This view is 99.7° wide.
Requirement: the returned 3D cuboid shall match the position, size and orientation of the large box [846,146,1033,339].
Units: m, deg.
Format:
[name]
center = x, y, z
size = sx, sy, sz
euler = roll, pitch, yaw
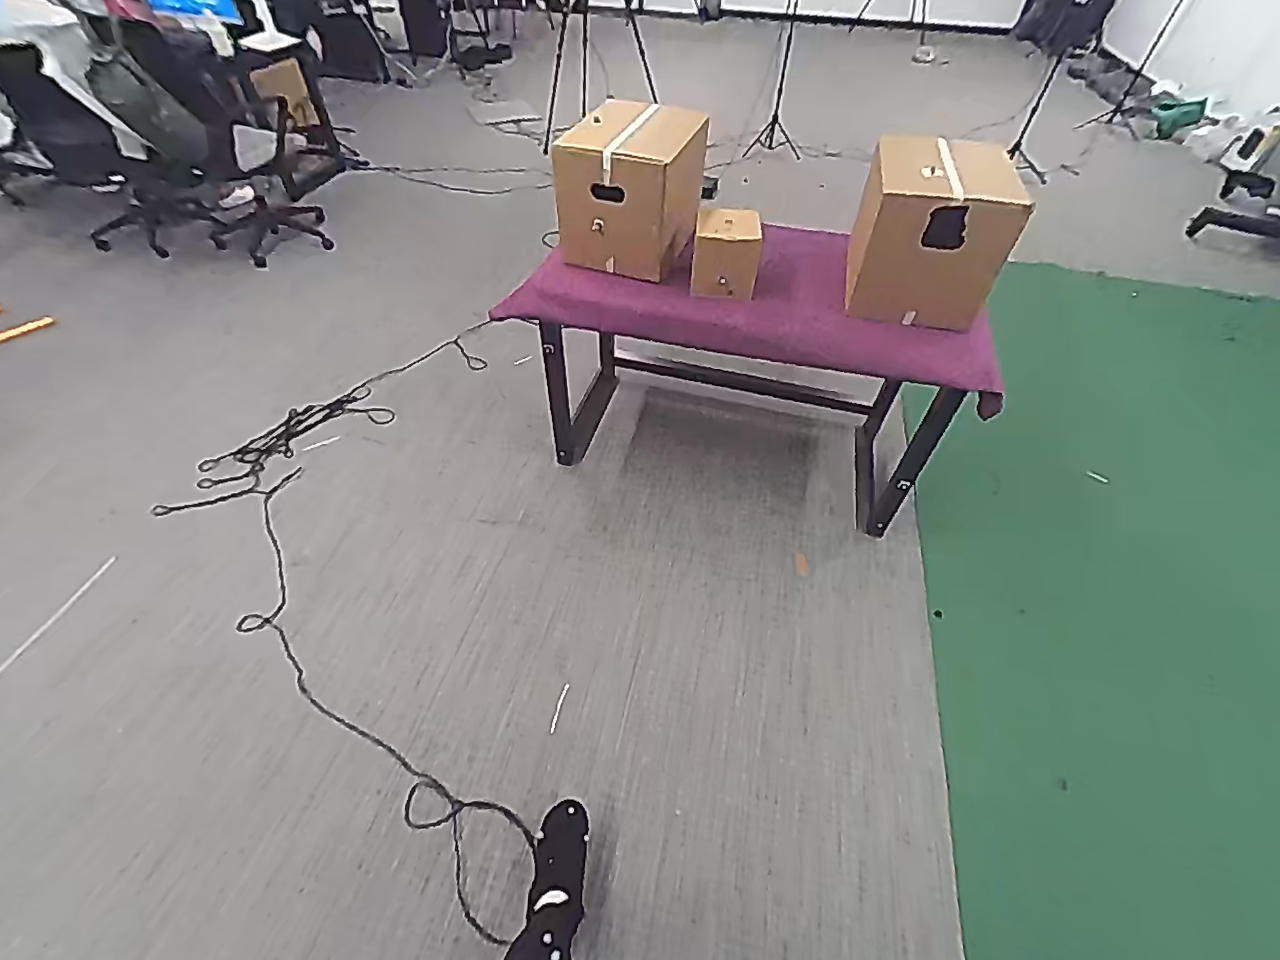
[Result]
[large box]
center = 0.738, -0.626, 1.412
size = 0.320, 0.320, 0.408
euler = 10, 50, 11
